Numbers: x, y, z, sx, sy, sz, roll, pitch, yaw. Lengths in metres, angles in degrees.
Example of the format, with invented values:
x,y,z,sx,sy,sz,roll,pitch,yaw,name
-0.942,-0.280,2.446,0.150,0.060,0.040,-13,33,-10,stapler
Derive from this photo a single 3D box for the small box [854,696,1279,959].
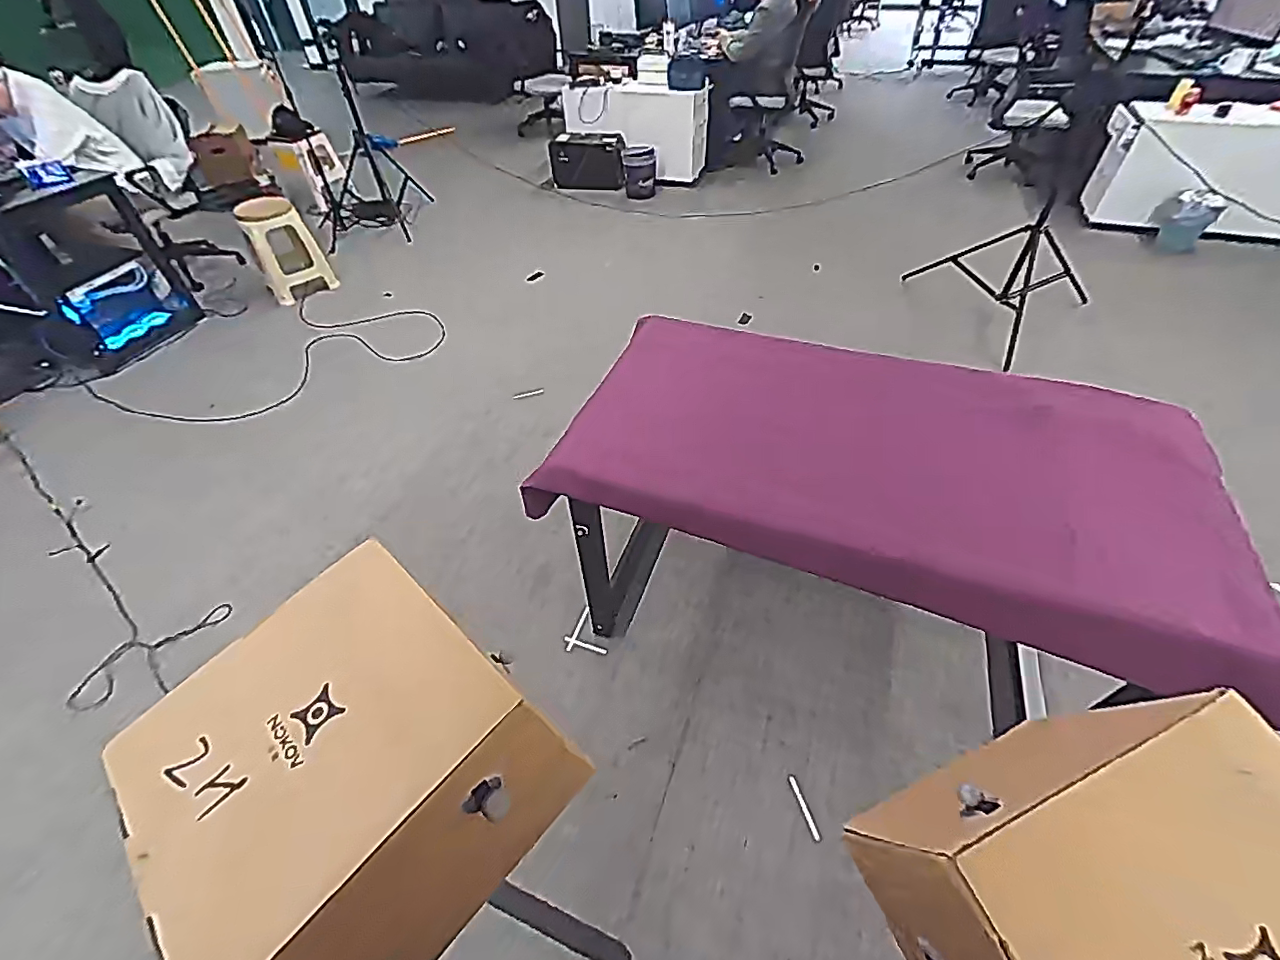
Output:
x,y,z,sx,sy,sz,roll,pitch,yaw,name
0.253,0.240,0.294,0.179,0.176,0.168,-23,62,-10,small box

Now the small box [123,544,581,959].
x,y,z,sx,sy,sz,roll,pitch,yaw,name
-0.156,0.182,0.348,0.168,0.176,0.179,32,64,32,small box
